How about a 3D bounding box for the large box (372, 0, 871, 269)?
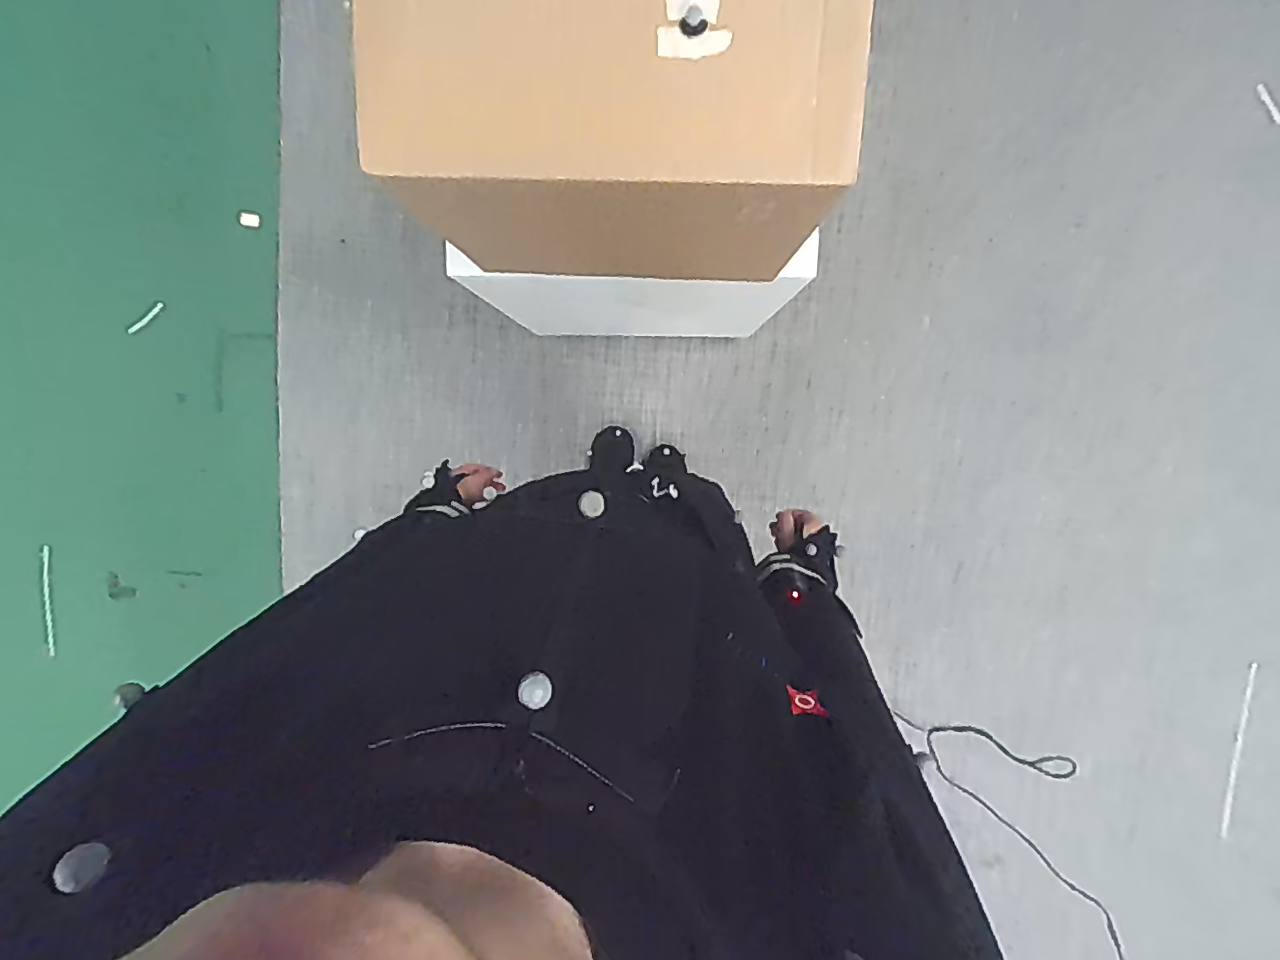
[{"bbox_3d":[-0.014,-0.423,0.573,0.408,0.320,0.320,2,97,0],"label":"large box"}]
